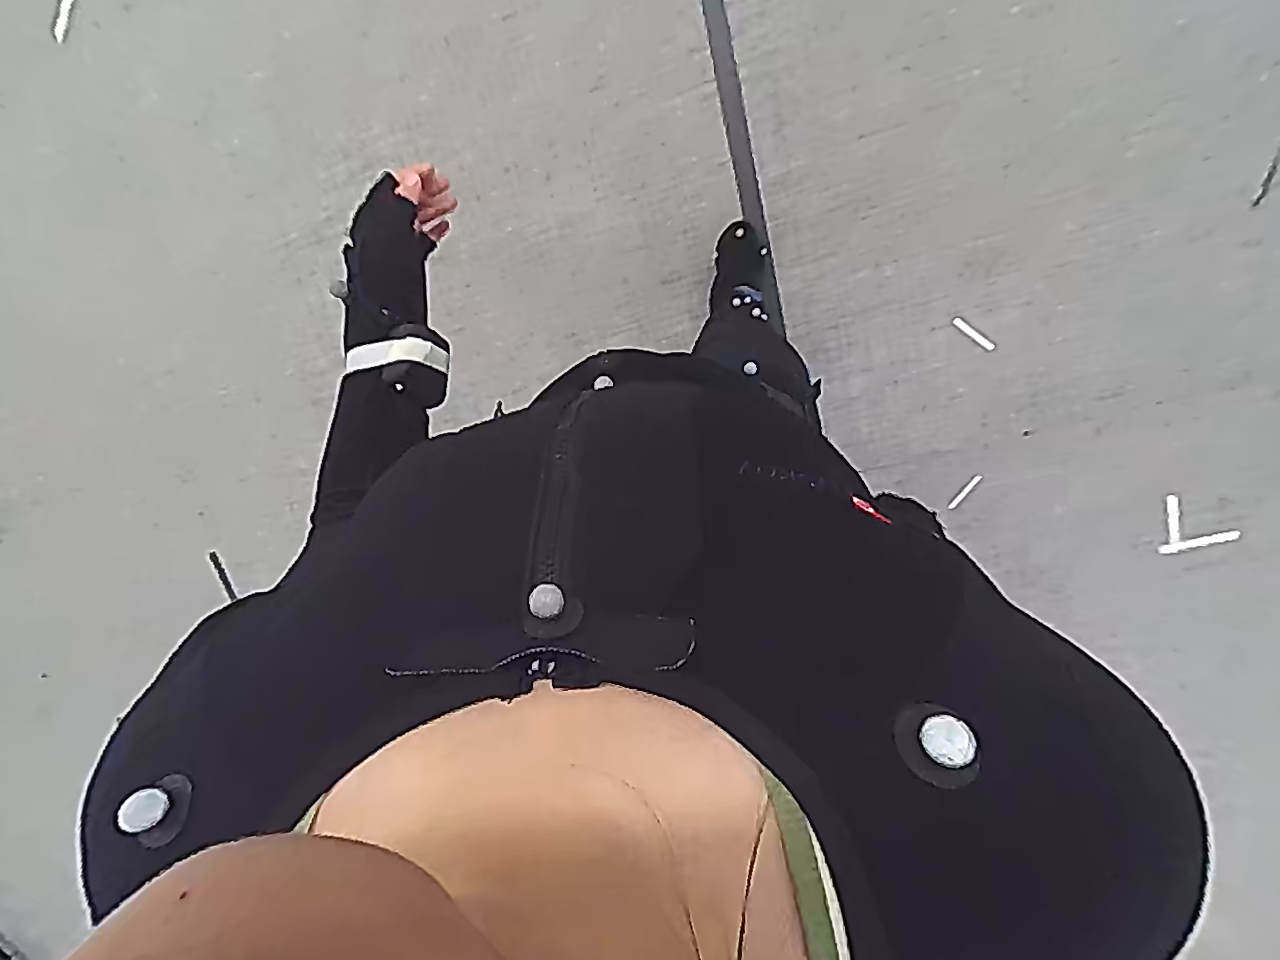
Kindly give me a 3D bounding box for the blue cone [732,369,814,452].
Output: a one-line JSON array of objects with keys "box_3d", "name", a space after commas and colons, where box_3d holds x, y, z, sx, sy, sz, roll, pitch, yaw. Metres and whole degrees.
[{"box_3d": [0.319, -0.120, 1.215, 0.193, 0.380, 0.192, -10, 106, 11], "name": "blue cone"}]
